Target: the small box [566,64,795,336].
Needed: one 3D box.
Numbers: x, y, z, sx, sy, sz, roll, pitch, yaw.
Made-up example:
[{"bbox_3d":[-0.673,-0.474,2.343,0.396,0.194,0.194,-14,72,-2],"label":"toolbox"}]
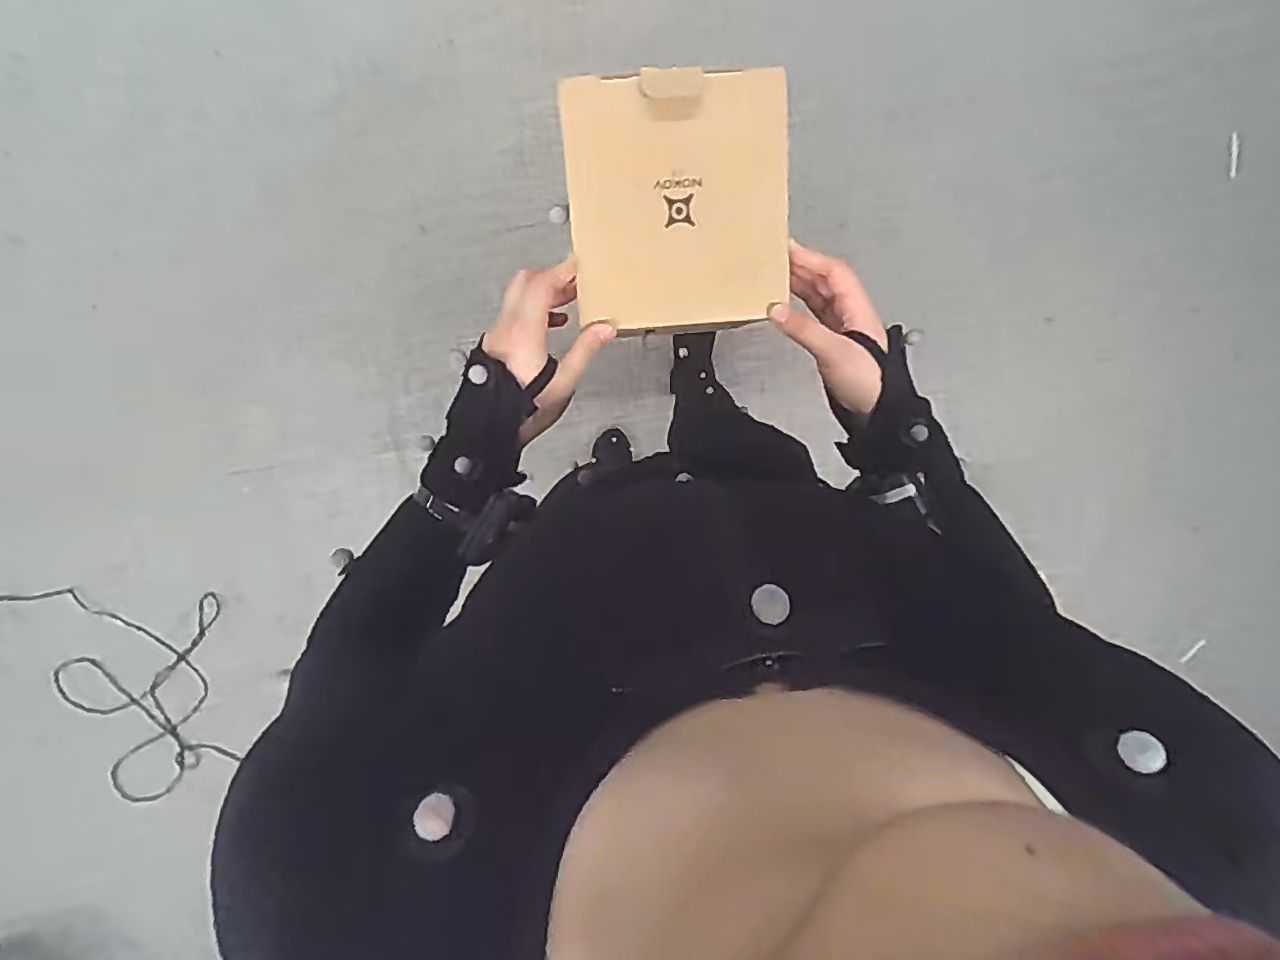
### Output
[{"bbox_3d":[0.030,-0.223,0.479,0.168,0.176,0.179,-5,101,-3],"label":"small box"}]
